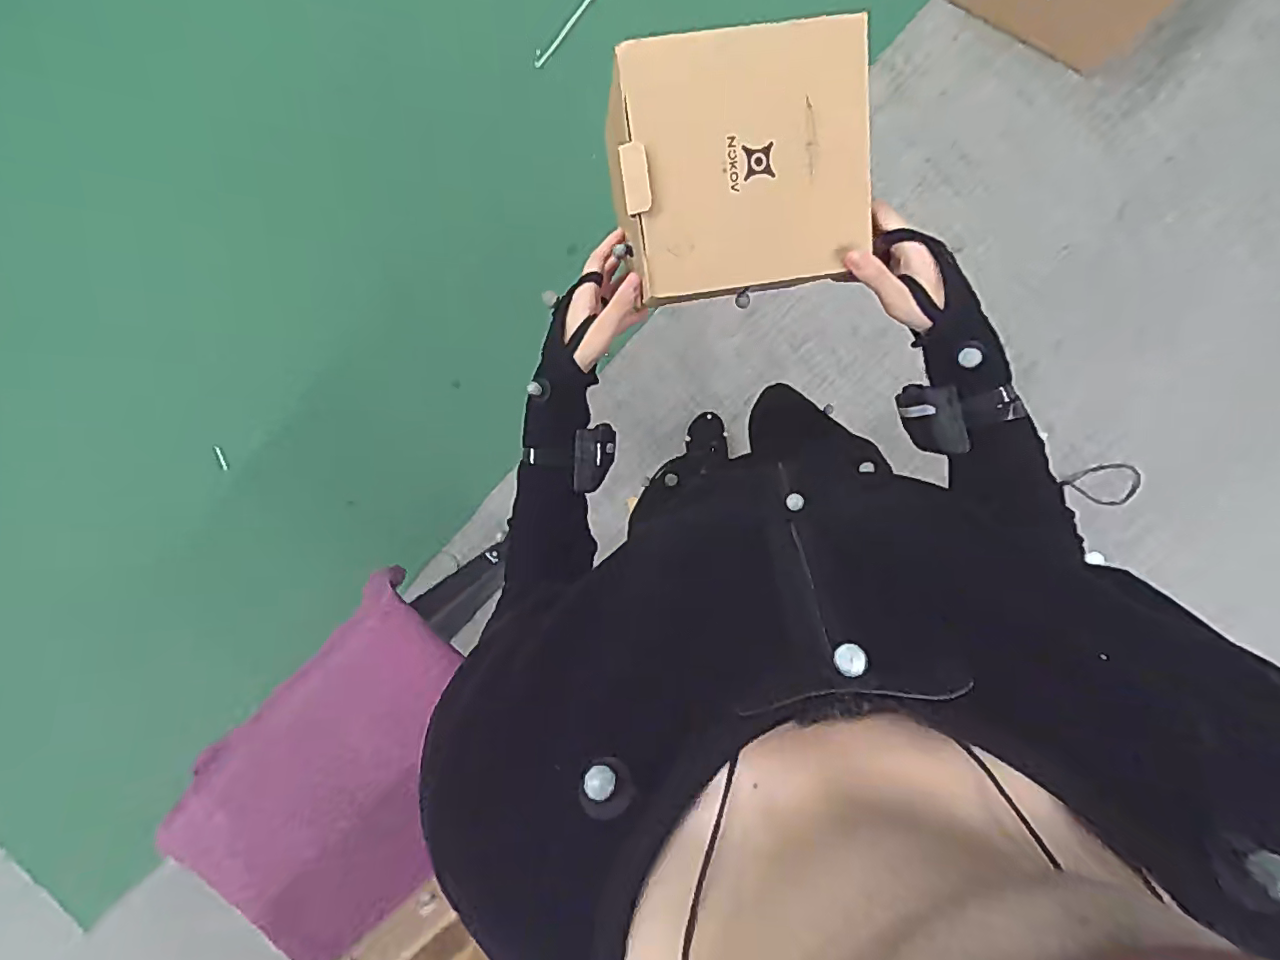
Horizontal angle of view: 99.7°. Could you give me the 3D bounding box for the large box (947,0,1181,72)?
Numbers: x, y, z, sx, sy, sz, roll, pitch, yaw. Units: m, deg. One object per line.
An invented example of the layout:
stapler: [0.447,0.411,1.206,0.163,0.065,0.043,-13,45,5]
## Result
large box: [0.951,-1.157,1.110,0.408,0.320,0.320,30,99,4]

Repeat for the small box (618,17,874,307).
small box: [0.075,-0.245,0.460,0.179,0.176,0.168,-8,105,-3]
